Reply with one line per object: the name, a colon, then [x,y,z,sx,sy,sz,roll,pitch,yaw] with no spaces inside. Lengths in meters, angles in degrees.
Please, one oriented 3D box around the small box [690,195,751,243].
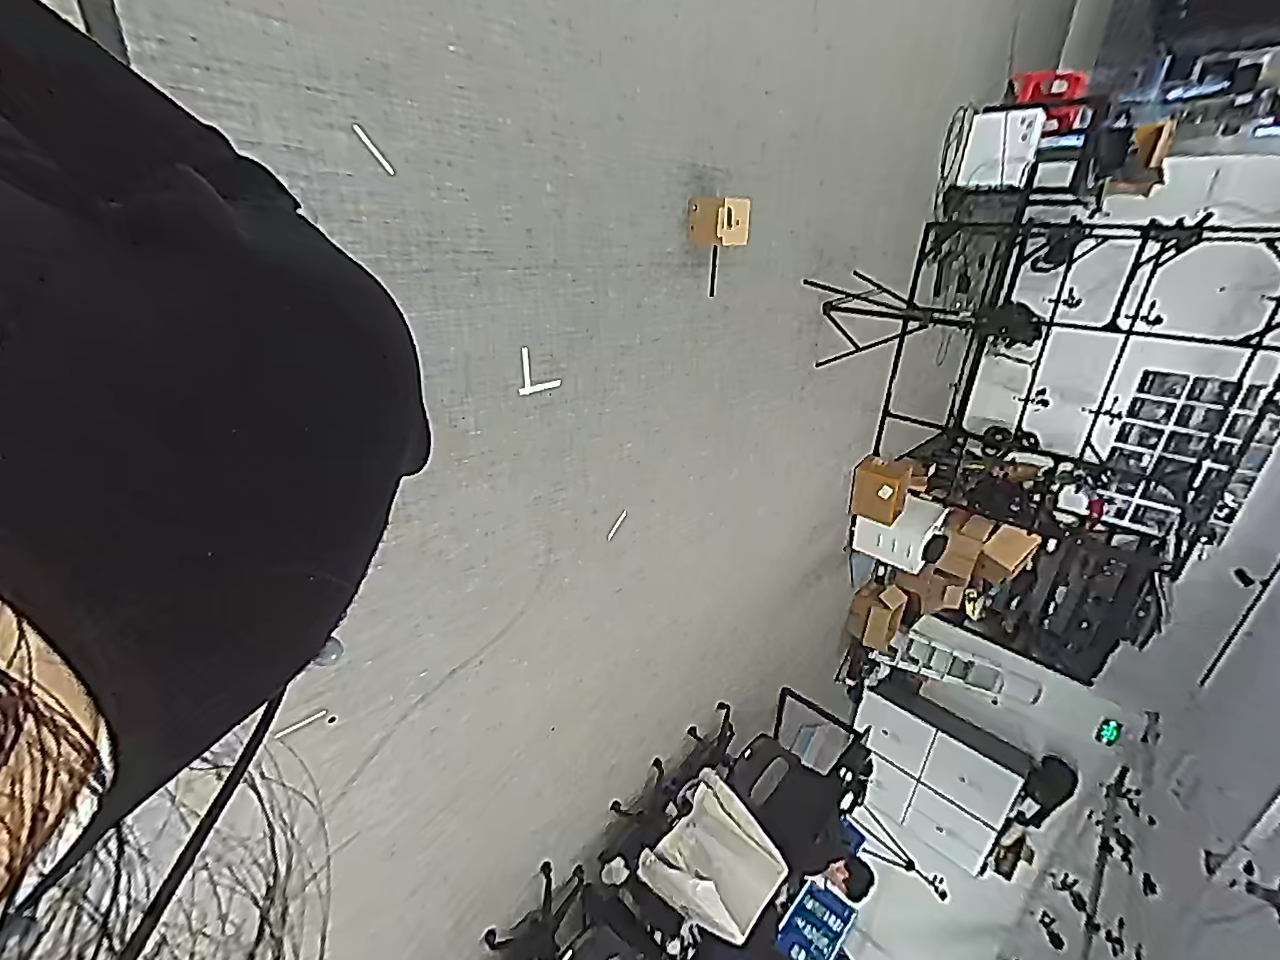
small box: [0.313,-1.028,2.134,0.179,0.176,0.168,-24,125,-40]
